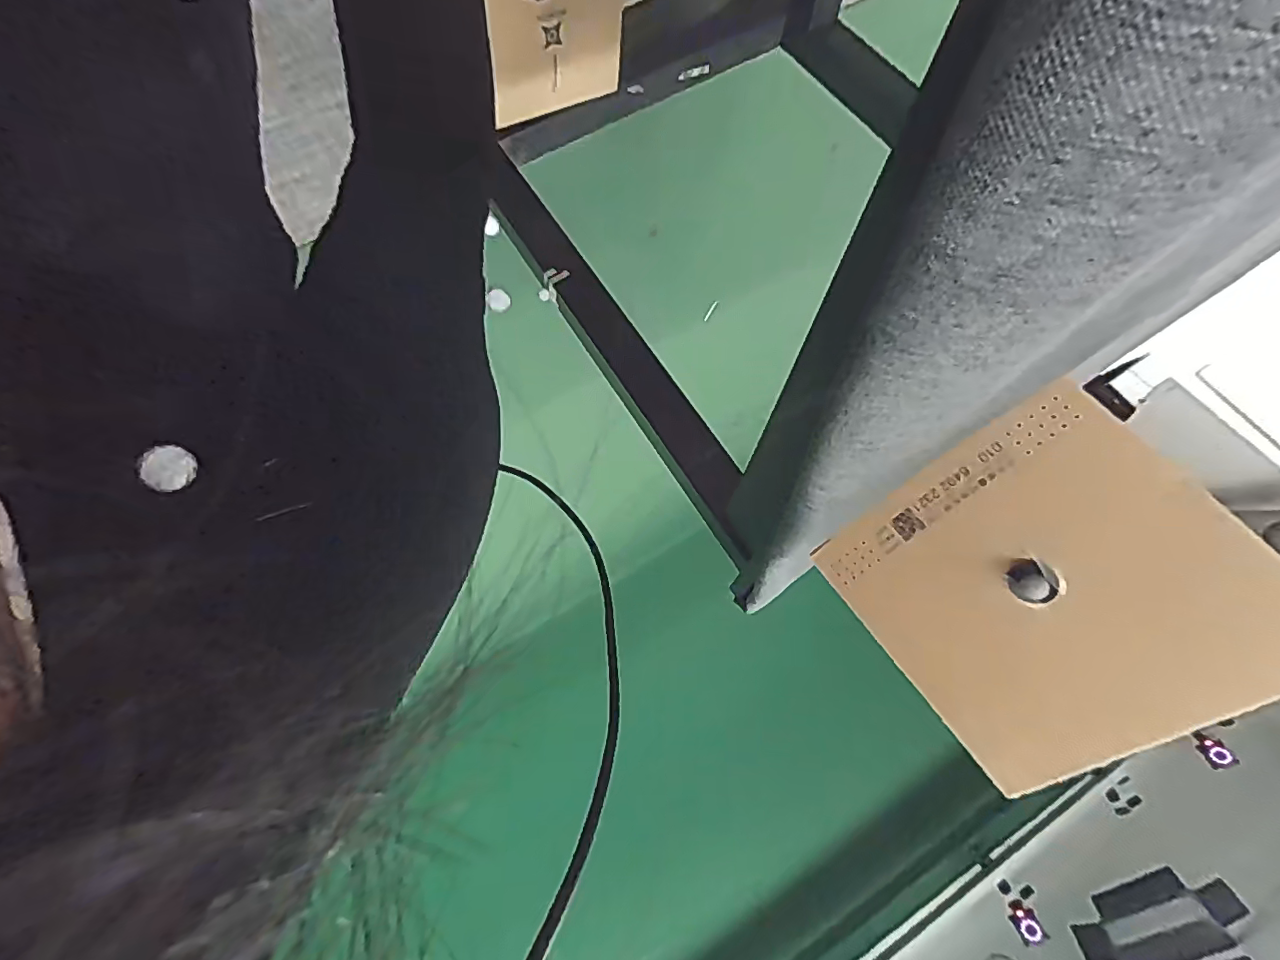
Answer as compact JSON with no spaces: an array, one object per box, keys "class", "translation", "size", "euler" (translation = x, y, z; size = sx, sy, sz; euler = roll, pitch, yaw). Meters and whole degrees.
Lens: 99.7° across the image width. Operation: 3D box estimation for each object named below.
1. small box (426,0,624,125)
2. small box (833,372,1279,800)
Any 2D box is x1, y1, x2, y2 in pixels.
[{"class":"small box","translation":[-0.129,-0.531,0.571],"size":[0.168,0.176,0.179],"euler":[-28,163,-15]},{"class":"small box","translation":[0.253,0.050,0.342],"size":[0.179,0.176,0.168],"euler":[-10,148,-53]}]
